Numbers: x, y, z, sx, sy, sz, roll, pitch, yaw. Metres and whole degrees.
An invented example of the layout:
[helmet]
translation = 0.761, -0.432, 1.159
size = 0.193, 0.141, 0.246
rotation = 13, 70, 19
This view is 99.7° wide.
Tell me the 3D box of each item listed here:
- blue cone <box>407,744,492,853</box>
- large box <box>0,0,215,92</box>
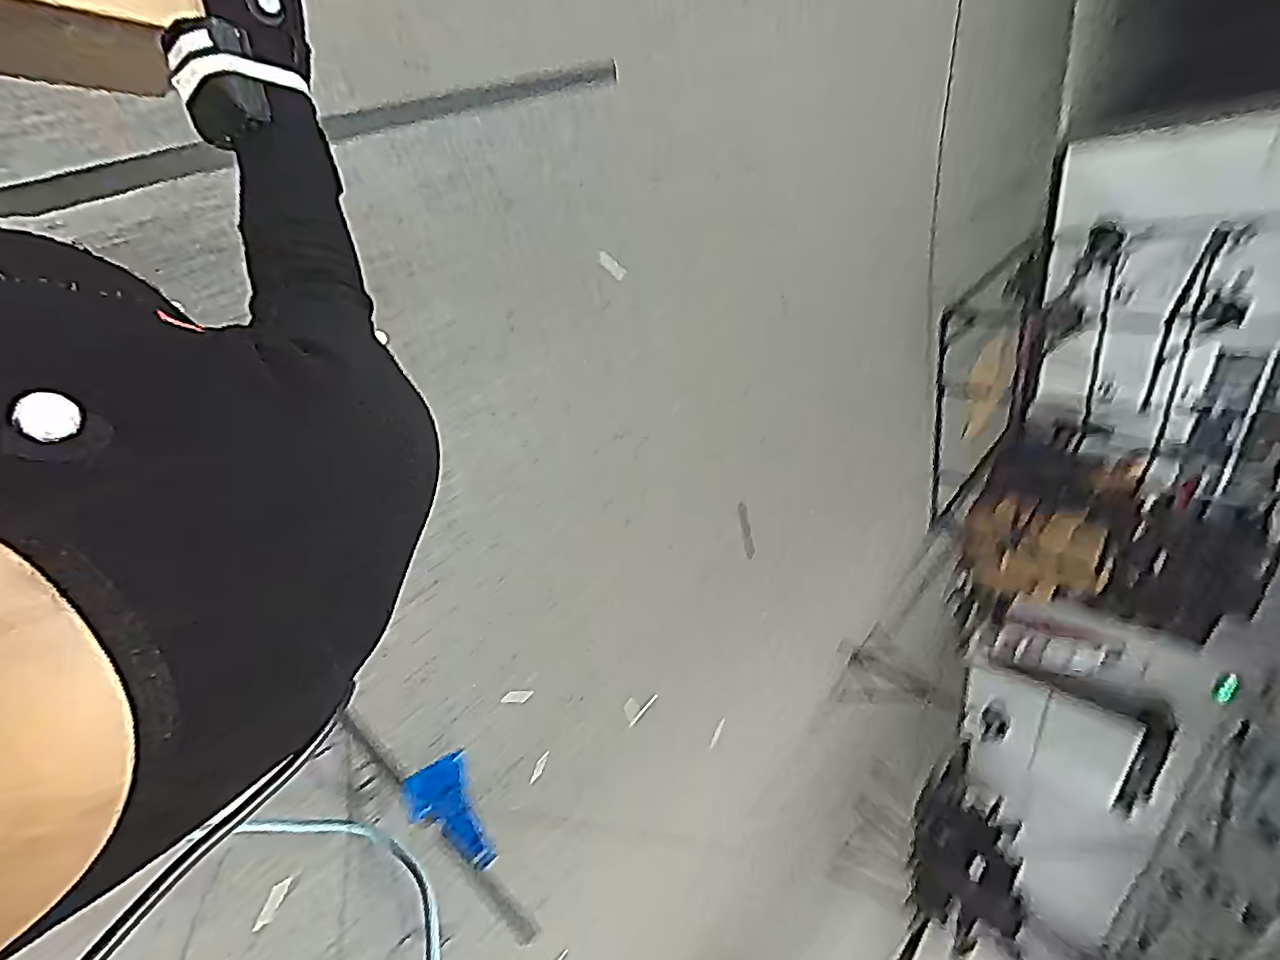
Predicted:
[blue cone]
translation = -0.582, 1.060, 1.742
size = 0.193, 0.380, 0.192
rotation = -16, 114, -41
[large box]
translation = -0.557, -0.465, 0.309
size = 0.408, 0.320, 0.320
rotation = -20, 122, -41
